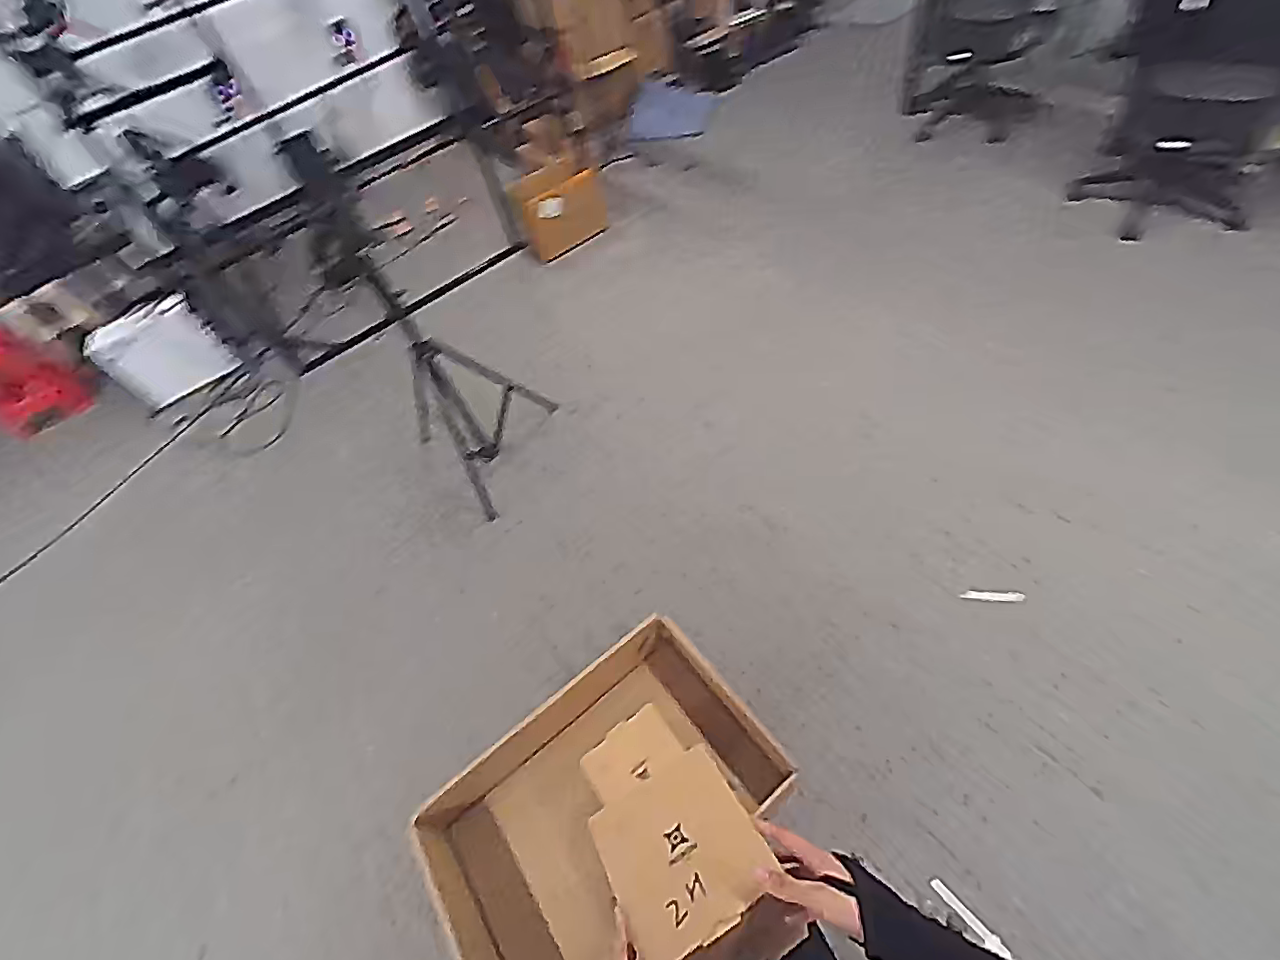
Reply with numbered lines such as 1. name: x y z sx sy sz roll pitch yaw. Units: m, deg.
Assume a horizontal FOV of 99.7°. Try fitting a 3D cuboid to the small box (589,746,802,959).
1. small box: 0.065 0.466 0.633 0.168 0.176 0.179 -28 34 -13
